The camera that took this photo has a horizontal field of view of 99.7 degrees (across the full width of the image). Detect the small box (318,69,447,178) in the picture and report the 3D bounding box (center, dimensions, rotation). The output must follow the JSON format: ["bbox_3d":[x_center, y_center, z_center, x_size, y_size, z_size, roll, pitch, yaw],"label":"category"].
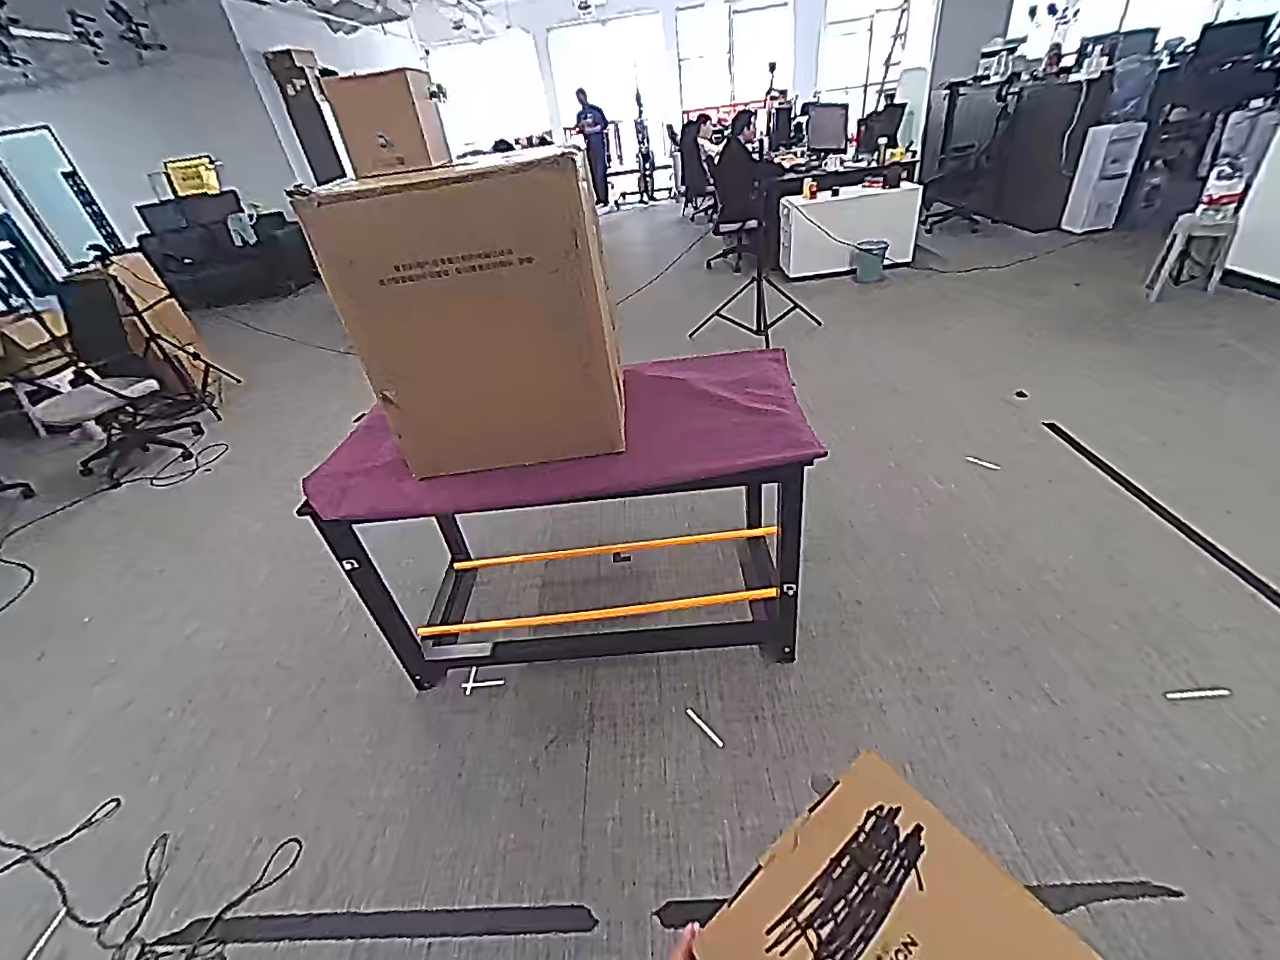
[{"bbox_3d":[-0.523,-0.740,1.131,0.168,0.176,0.179,-7,35,2],"label":"small box"}]
